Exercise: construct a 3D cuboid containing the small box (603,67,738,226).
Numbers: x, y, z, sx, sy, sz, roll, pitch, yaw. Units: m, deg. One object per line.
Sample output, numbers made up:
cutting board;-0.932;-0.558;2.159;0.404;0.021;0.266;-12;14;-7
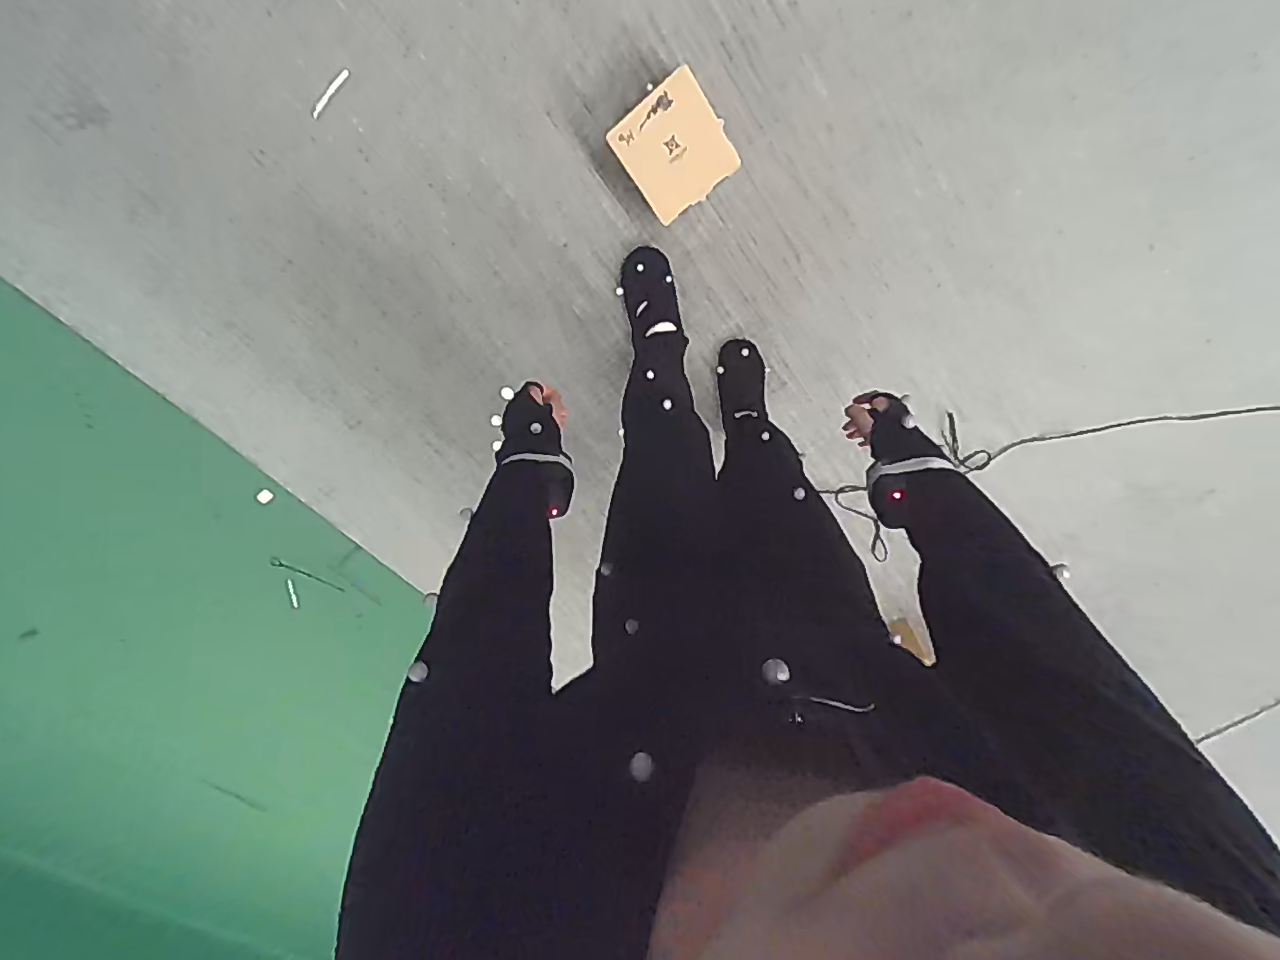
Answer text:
small box;0.056;-0.596;0.973;0.168;0.176;0.179;-31;117;20
